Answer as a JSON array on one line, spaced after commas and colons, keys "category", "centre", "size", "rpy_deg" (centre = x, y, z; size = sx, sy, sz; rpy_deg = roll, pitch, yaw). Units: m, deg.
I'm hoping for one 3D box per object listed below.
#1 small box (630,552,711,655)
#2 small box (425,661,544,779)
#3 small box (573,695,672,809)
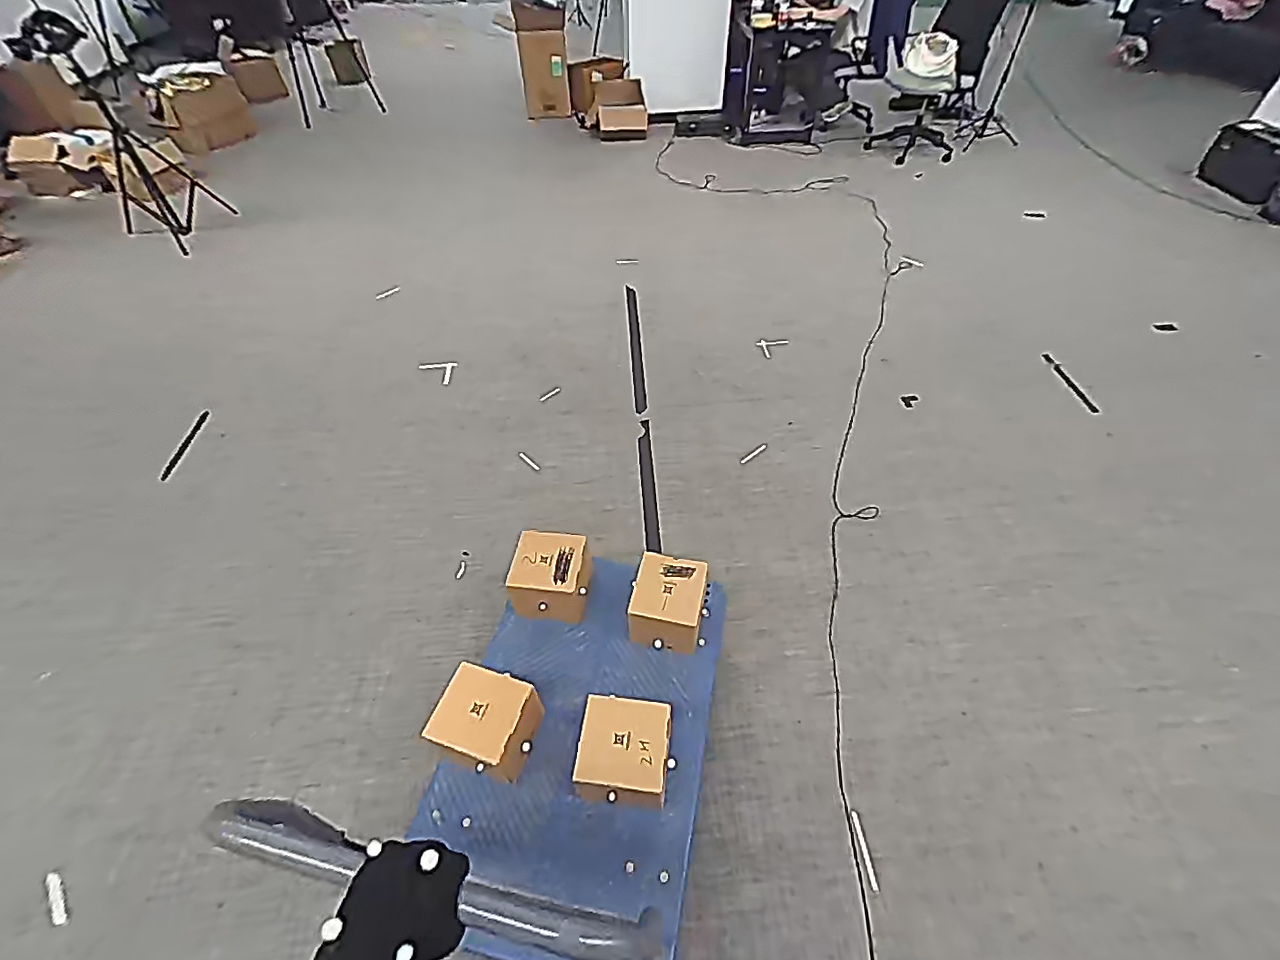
[{"category": "small box", "centre": [0.077, 0.310, 1.354], "size": [0.168, 0.176, 0.179], "rpy_deg": [10, 51, 11]}, {"category": "small box", "centre": [-0.328, 0.528, 1.180], "size": [0.179, 0.176, 0.168], "rpy_deg": [13, 50, 12]}, {"category": "small box", "centre": [-0.028, 0.570, 1.130], "size": [0.179, 0.176, 0.168], "rpy_deg": [5, 49, 7]}]
